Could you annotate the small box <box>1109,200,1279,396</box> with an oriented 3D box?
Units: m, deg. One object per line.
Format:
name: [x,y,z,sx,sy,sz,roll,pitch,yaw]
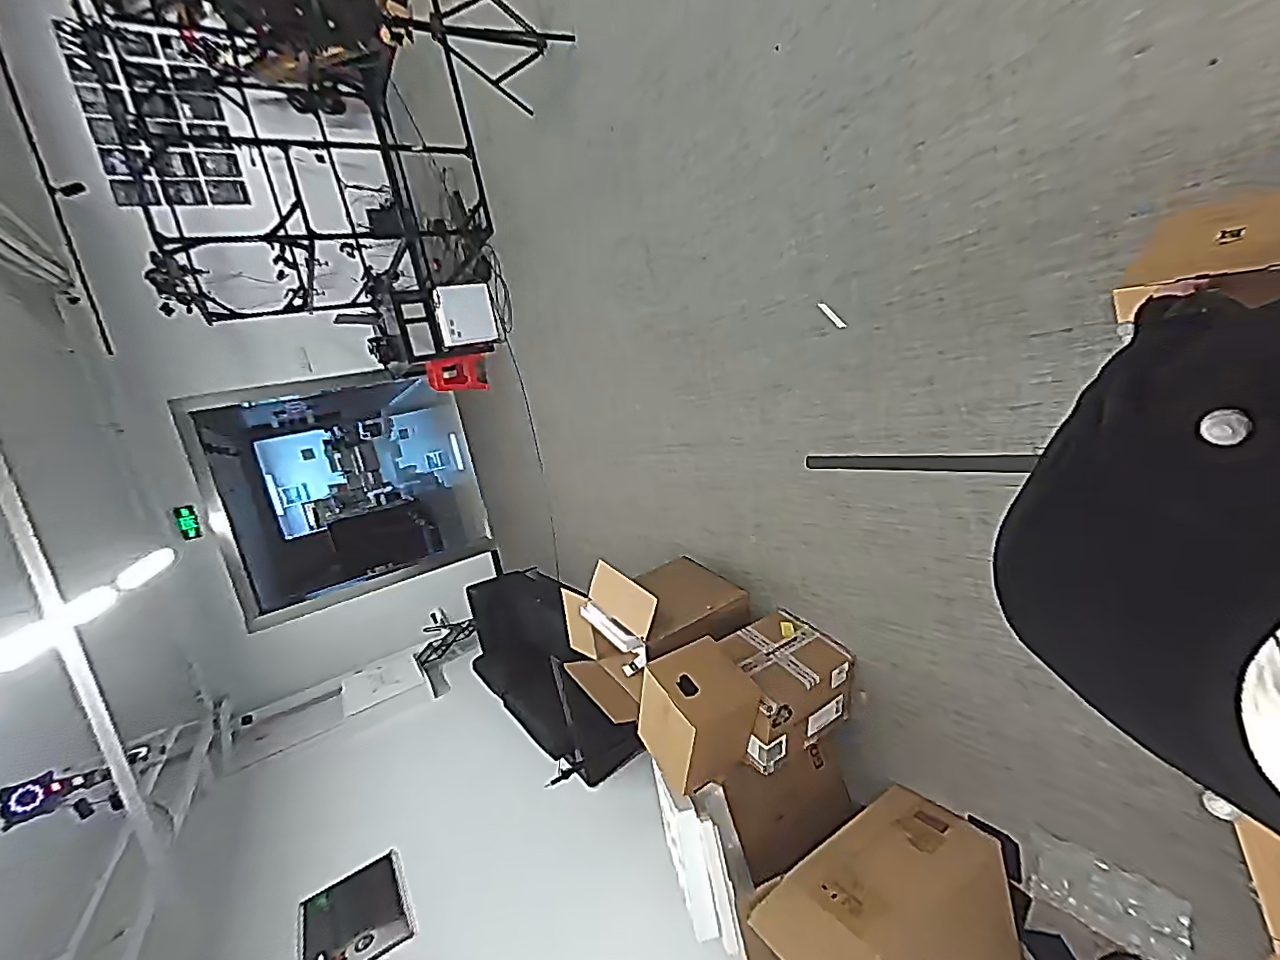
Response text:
small box: [0.734,-0.218,0.670,0.176,0.179,0.168,54,162,-24]
